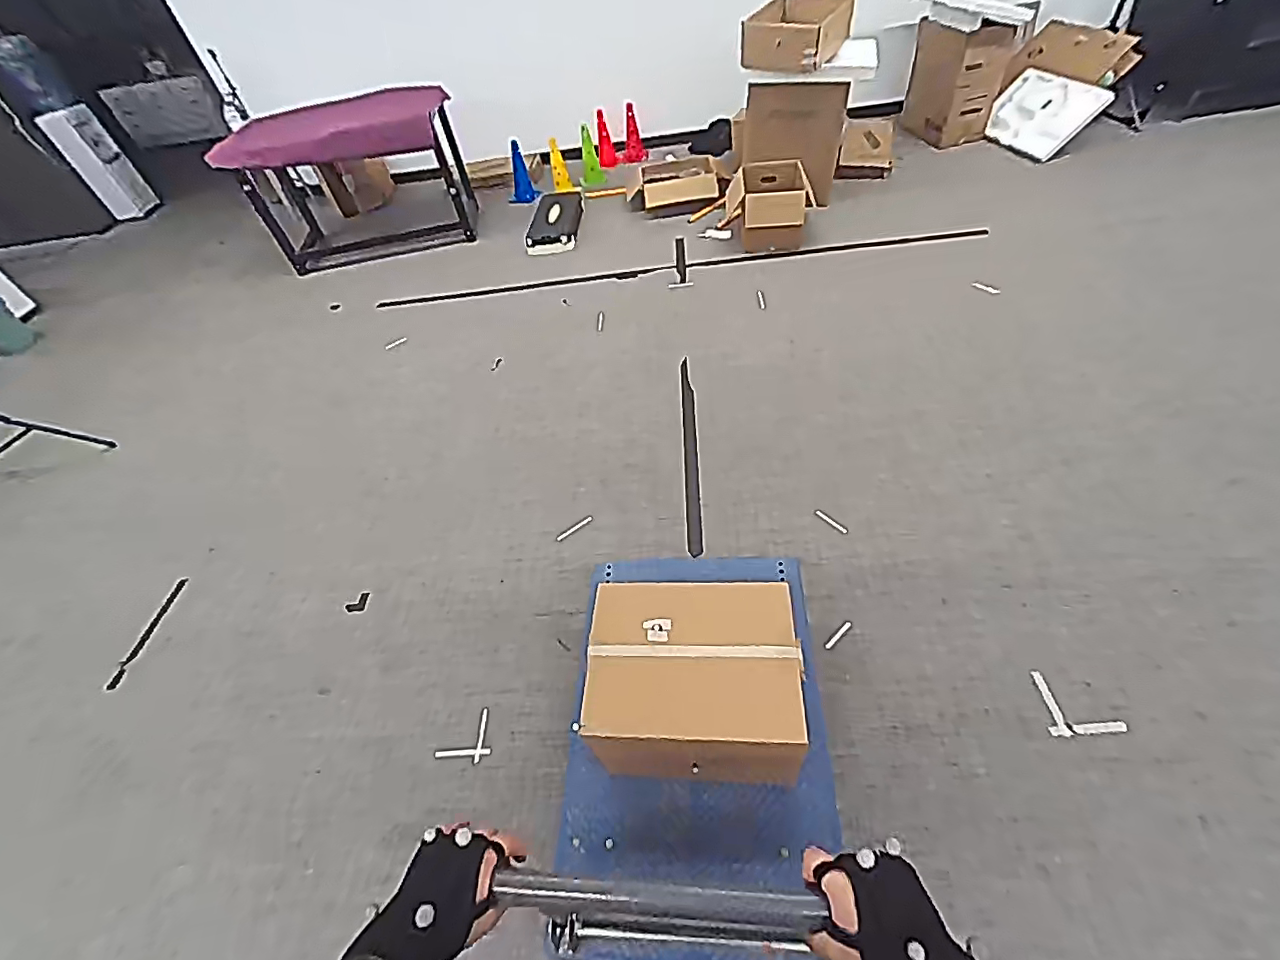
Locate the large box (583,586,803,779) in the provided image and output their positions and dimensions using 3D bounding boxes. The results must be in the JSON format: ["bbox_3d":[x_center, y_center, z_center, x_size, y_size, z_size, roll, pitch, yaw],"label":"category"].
[{"bbox_3d":[0.120,0.447,1.176,0.408,0.320,0.320,-3,48,9],"label":"large box"}]
